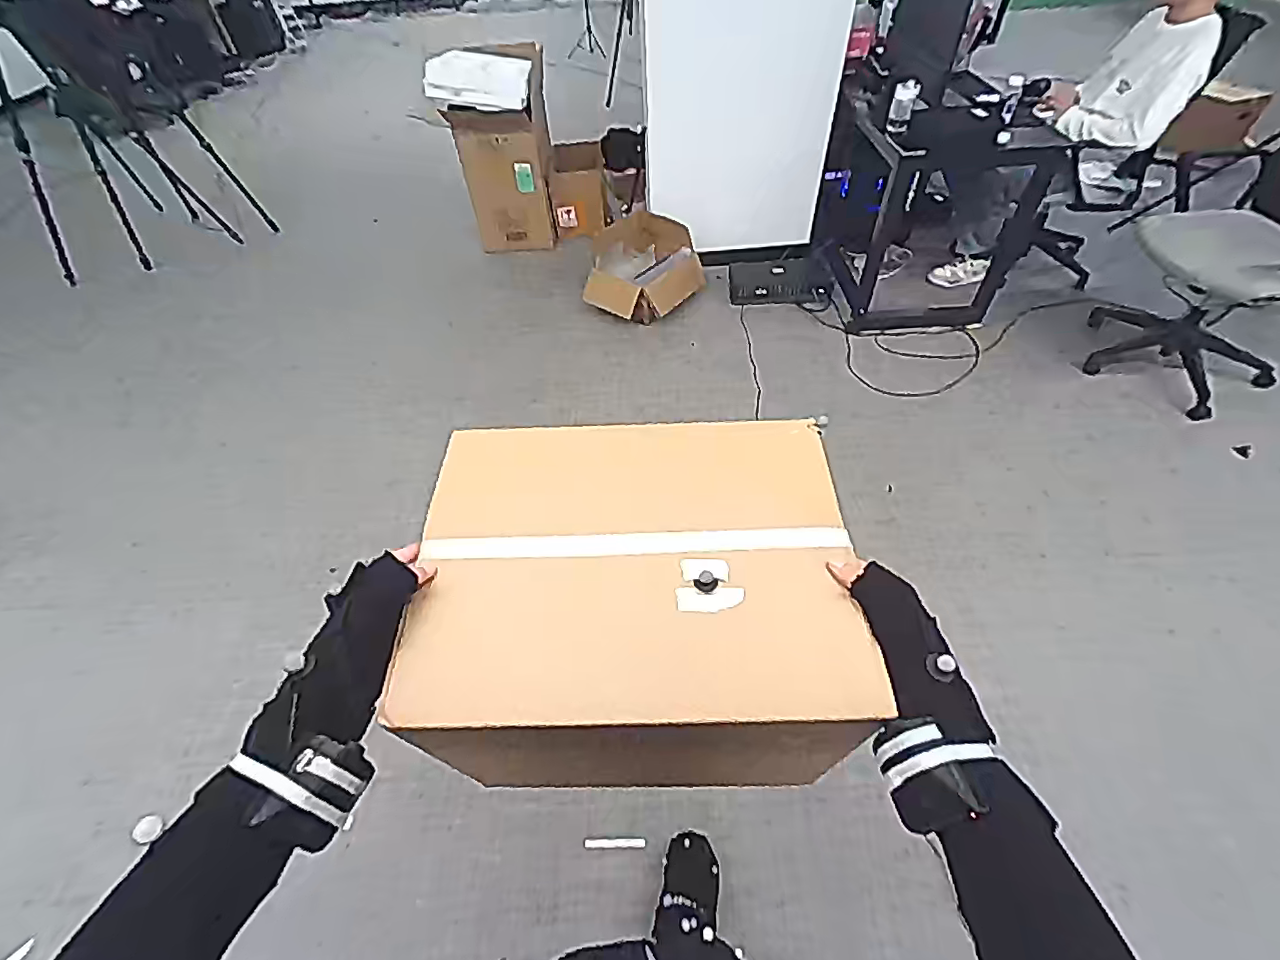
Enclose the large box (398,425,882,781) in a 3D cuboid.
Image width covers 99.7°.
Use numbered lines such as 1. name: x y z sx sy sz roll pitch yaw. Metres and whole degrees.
1. large box: 0.001 0.155 0.644 0.408 0.320 0.320 -1 53 2
